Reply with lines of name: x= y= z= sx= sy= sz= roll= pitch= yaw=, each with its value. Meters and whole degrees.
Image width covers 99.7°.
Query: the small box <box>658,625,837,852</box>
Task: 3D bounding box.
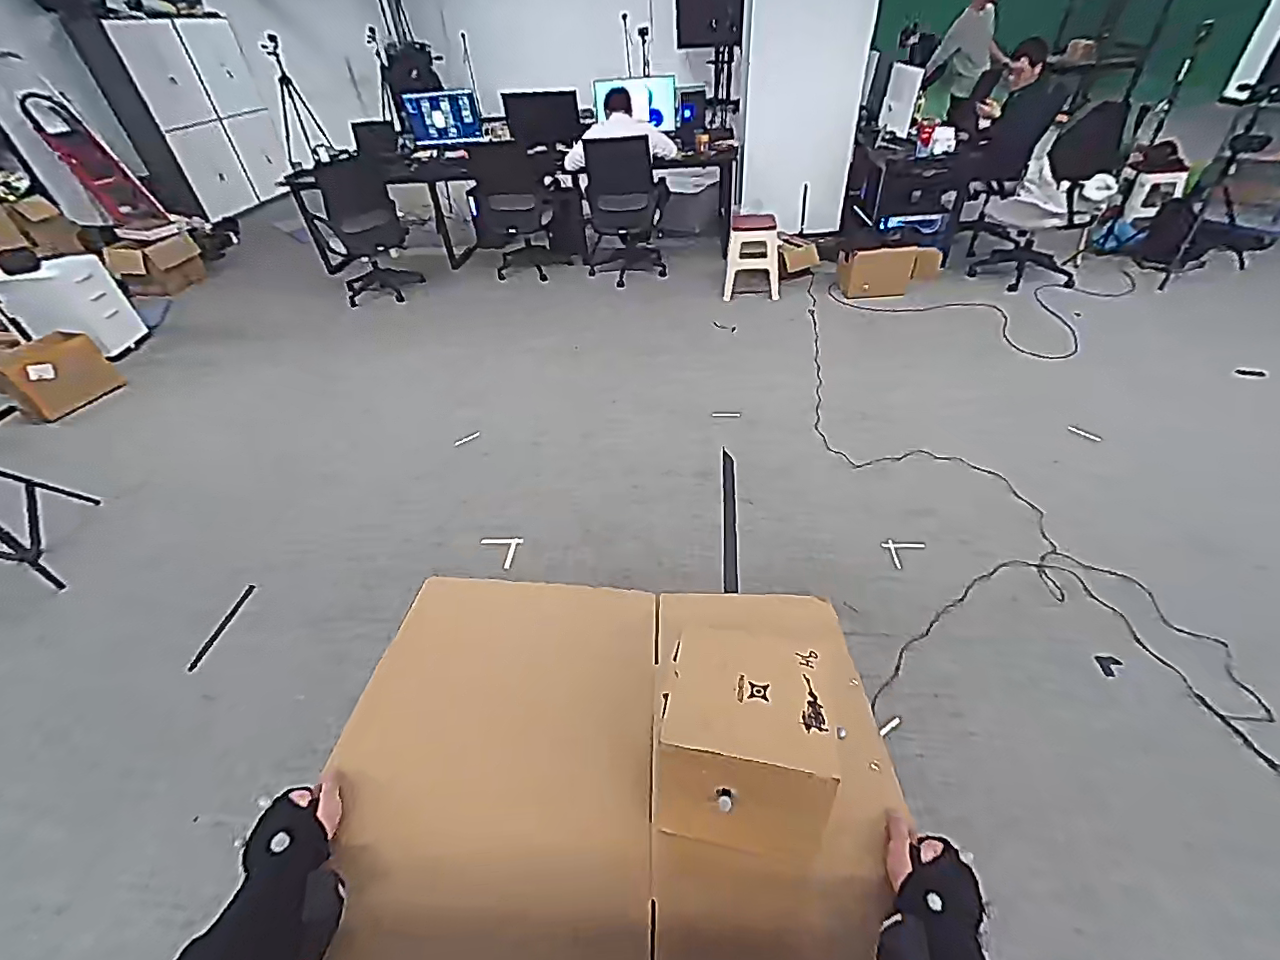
small box: x=0.123 y=0.298 z=0.633 sx=0.179 sy=0.176 sz=0.168 roll=5 pitch=32 yaw=12
